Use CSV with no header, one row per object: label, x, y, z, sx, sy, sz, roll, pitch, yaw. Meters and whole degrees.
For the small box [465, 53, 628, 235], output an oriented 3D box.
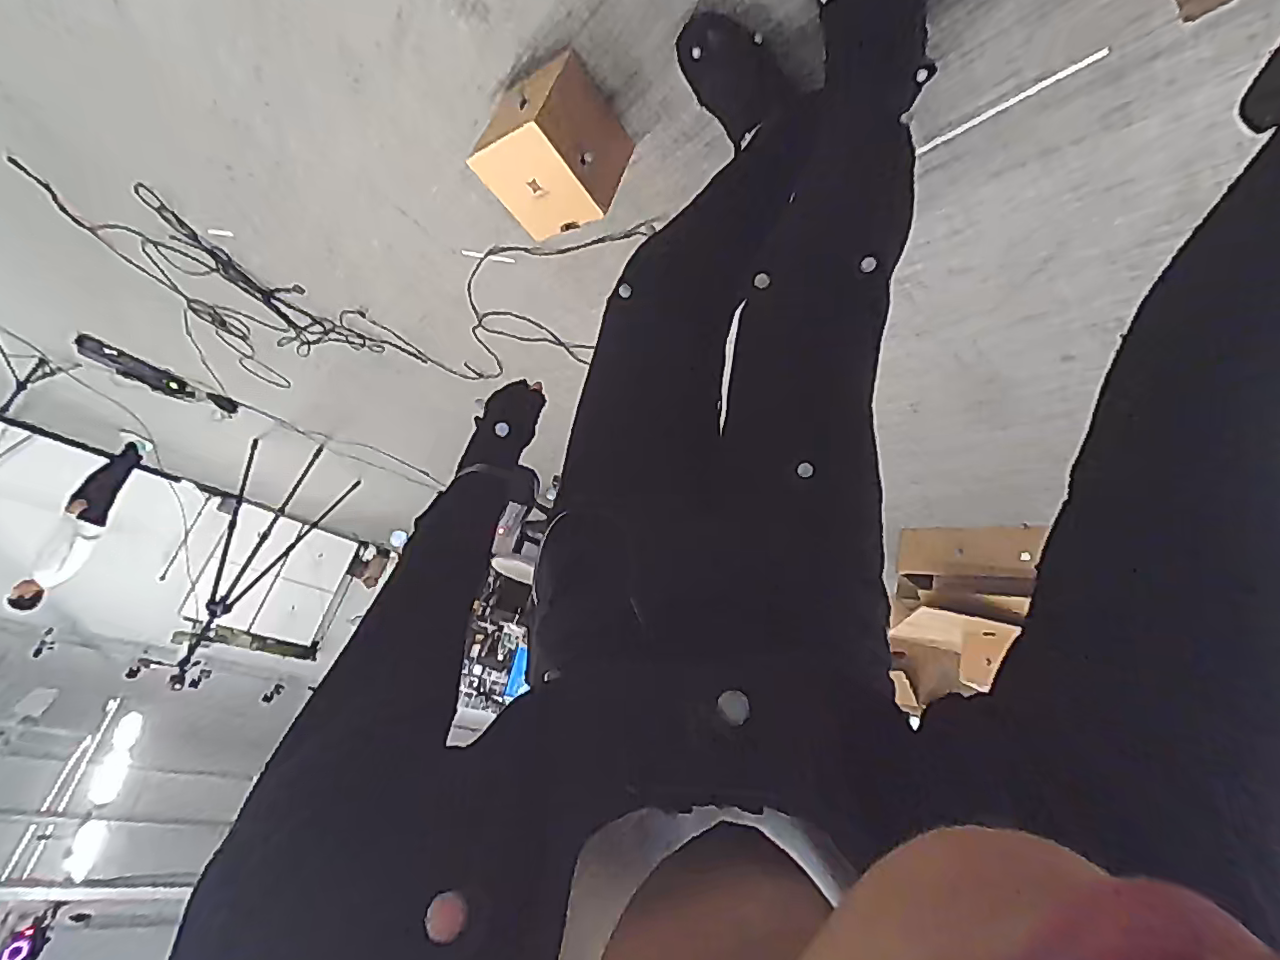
small box,-0.147,-0.552,0.893,0.168,0.176,0.179,1,156,38
